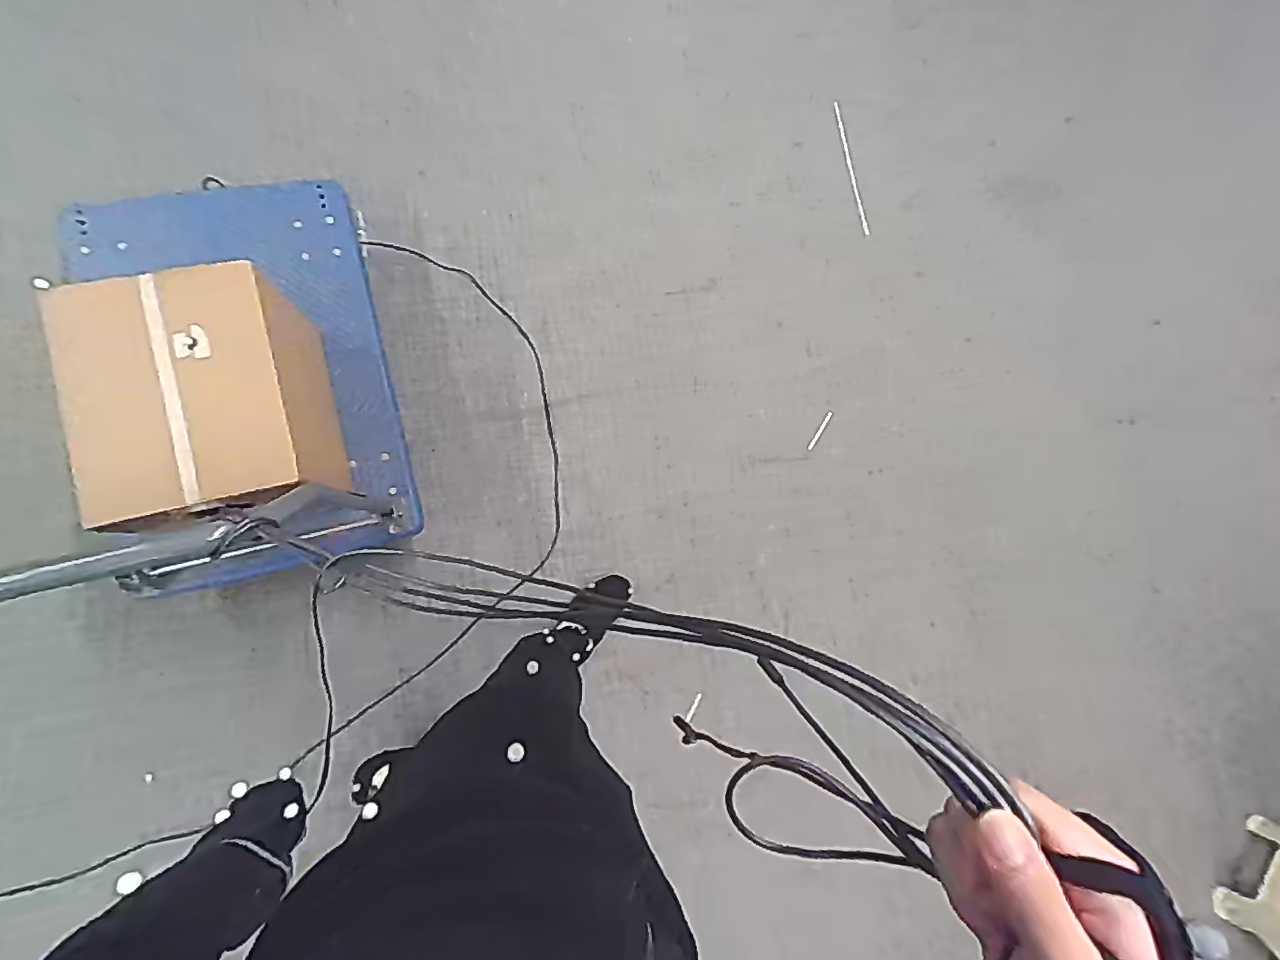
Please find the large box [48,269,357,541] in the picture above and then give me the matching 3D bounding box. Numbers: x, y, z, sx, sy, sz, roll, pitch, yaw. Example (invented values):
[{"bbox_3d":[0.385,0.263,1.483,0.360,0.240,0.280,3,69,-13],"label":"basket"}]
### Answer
[{"bbox_3d":[-0.792,-0.121,1.037,0.320,0.320,0.408,-14,84,-14],"label":"large box"}]
